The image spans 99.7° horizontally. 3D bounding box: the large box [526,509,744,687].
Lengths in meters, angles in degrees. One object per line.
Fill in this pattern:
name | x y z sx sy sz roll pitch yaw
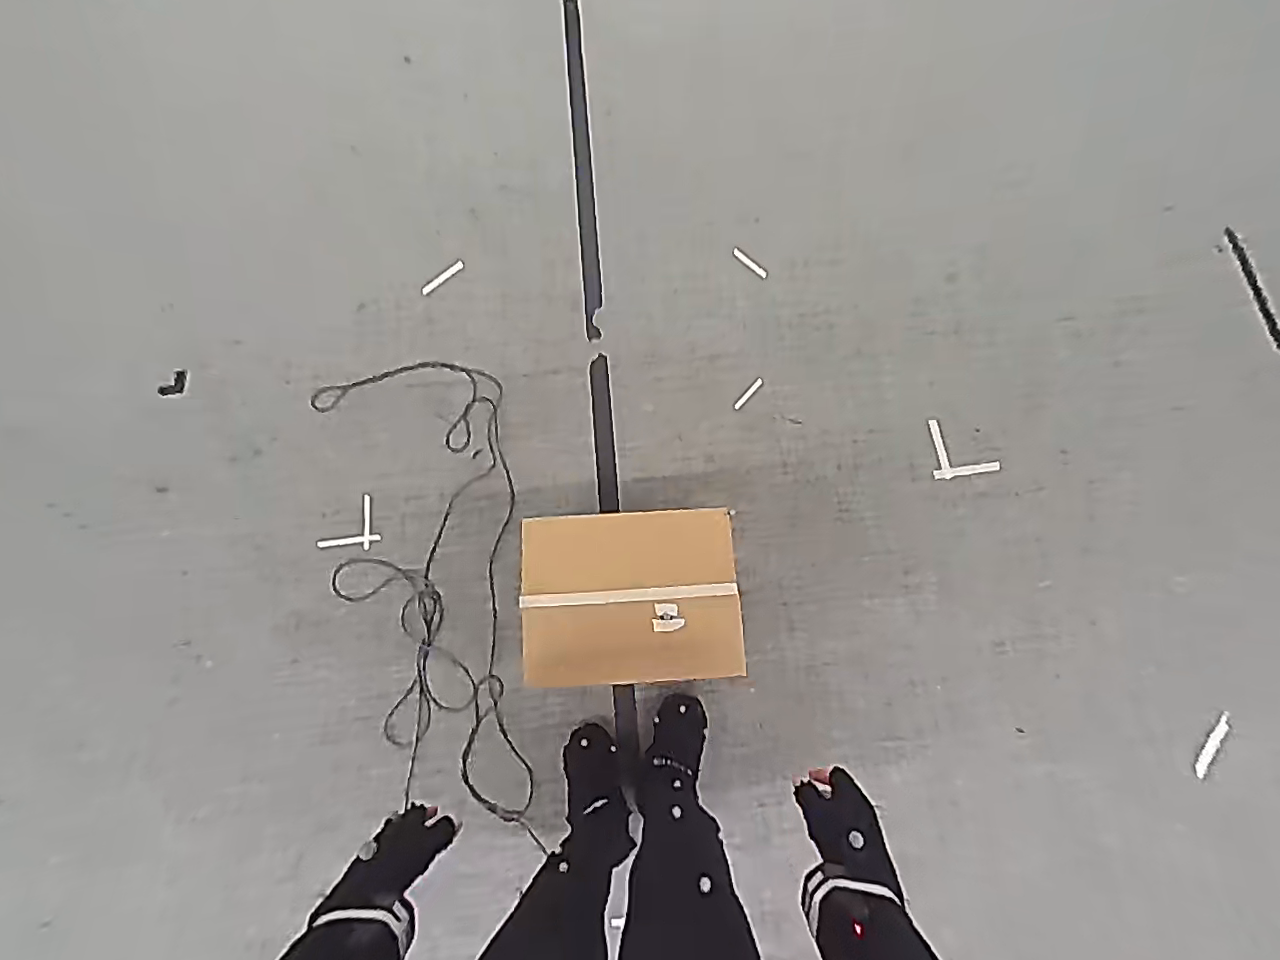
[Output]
large box | -0.019 0.254 1.166 0.408 0.320 0.320 -3 76 -2
